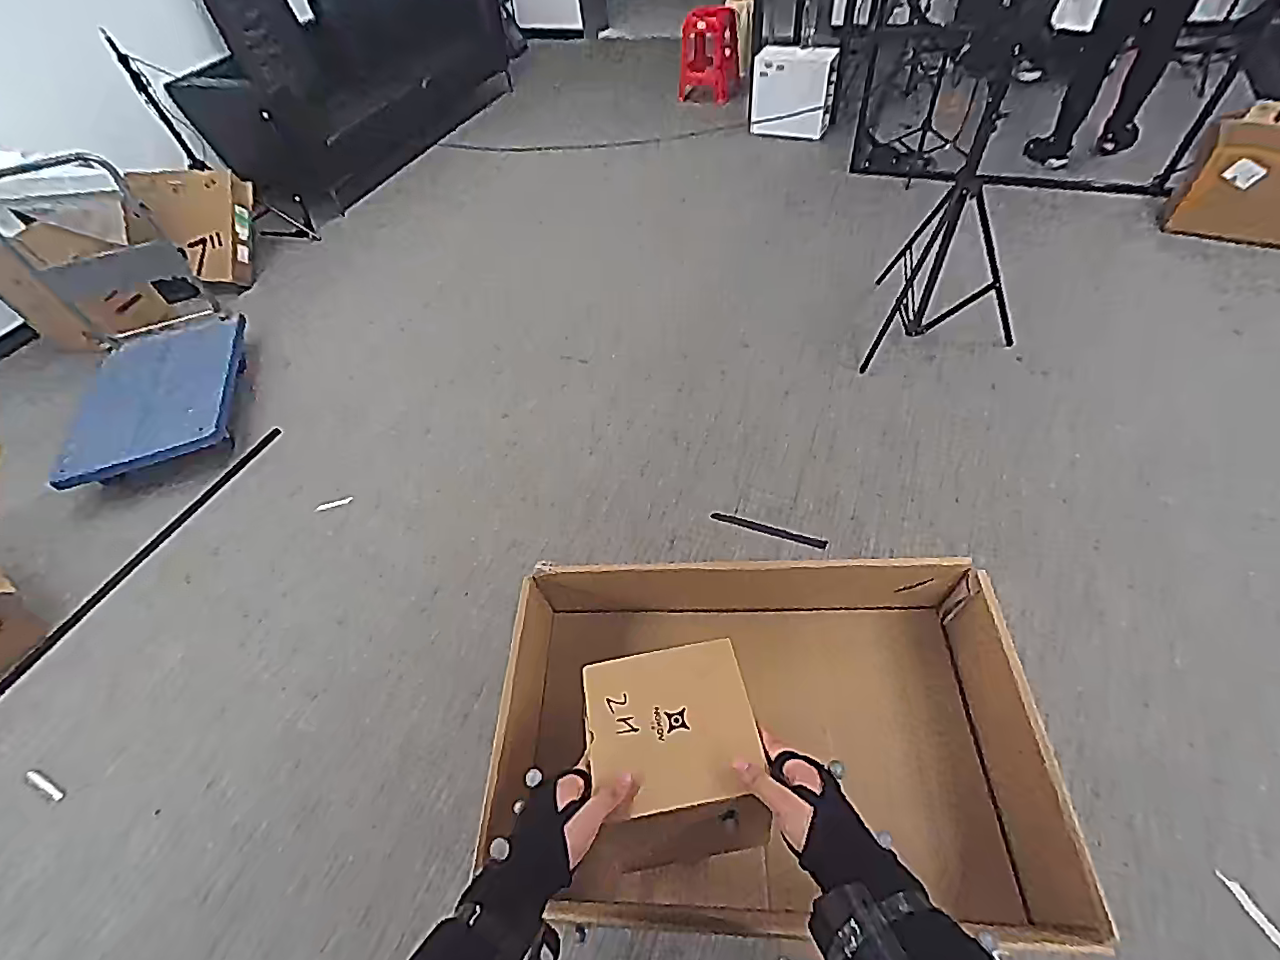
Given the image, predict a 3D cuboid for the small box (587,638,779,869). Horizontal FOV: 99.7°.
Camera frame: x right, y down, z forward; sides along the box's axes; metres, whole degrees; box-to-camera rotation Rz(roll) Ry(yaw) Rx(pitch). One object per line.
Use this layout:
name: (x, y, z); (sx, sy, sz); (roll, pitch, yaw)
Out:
small box: (0.044, 0.308, 0.608); (0.179, 0.176, 0.168); (-11, 40, -1)
